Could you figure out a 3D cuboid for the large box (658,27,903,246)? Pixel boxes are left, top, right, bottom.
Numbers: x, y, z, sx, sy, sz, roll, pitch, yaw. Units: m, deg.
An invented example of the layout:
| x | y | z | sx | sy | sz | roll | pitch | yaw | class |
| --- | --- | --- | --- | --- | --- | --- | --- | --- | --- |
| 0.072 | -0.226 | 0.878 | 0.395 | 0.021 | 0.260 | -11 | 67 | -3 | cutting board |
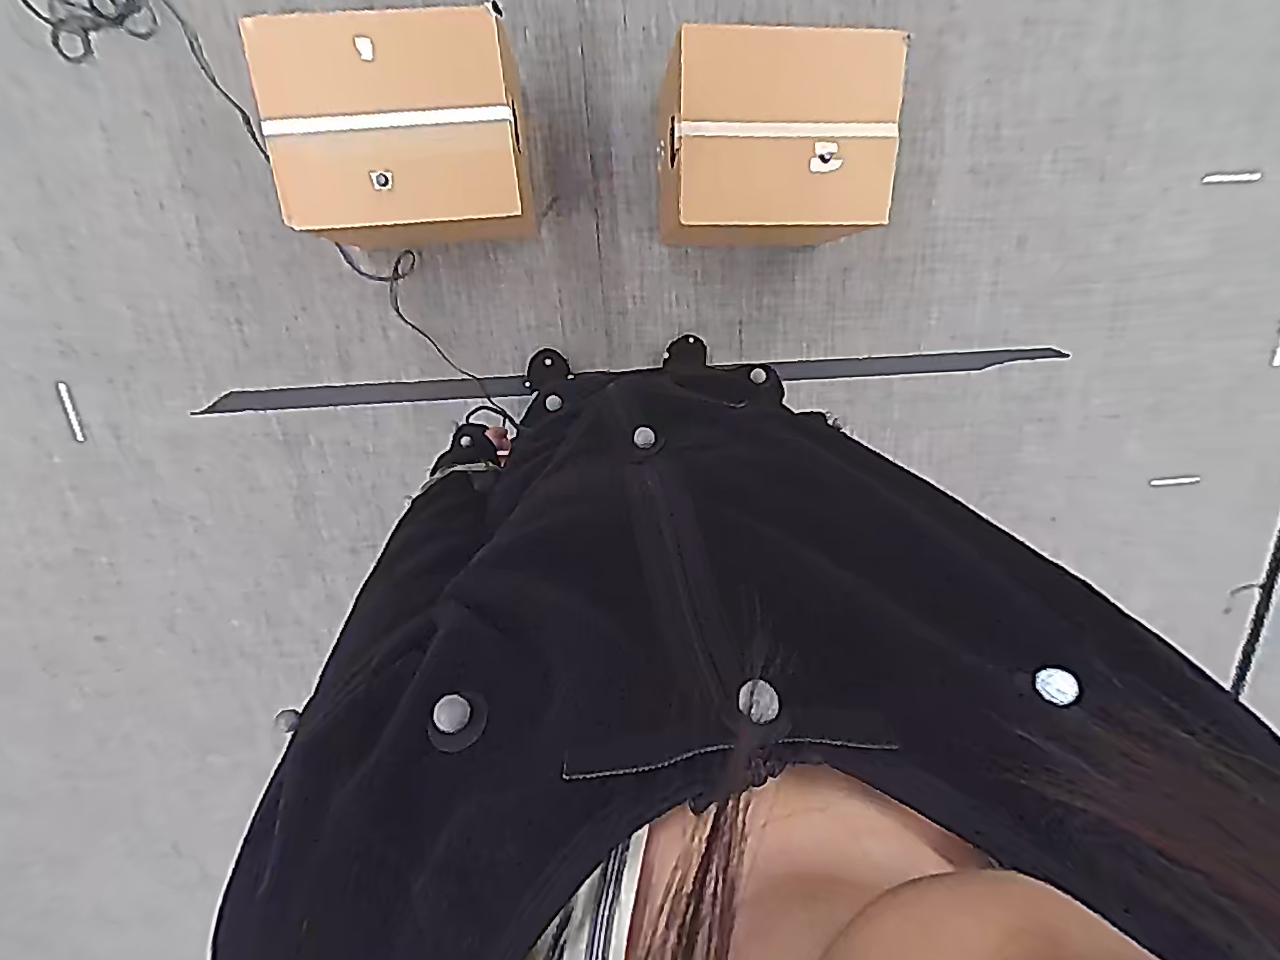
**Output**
| x | y | z | sx | sy | sz | roll | pitch | yaw | class |
| --- | --- | --- | --- | --- | --- | --- | --- | --- | --- |
| 0.256 | -0.674 | 1.121 | 0.408 | 0.320 | 0.320 | -2 | 107 | -6 | large box |
